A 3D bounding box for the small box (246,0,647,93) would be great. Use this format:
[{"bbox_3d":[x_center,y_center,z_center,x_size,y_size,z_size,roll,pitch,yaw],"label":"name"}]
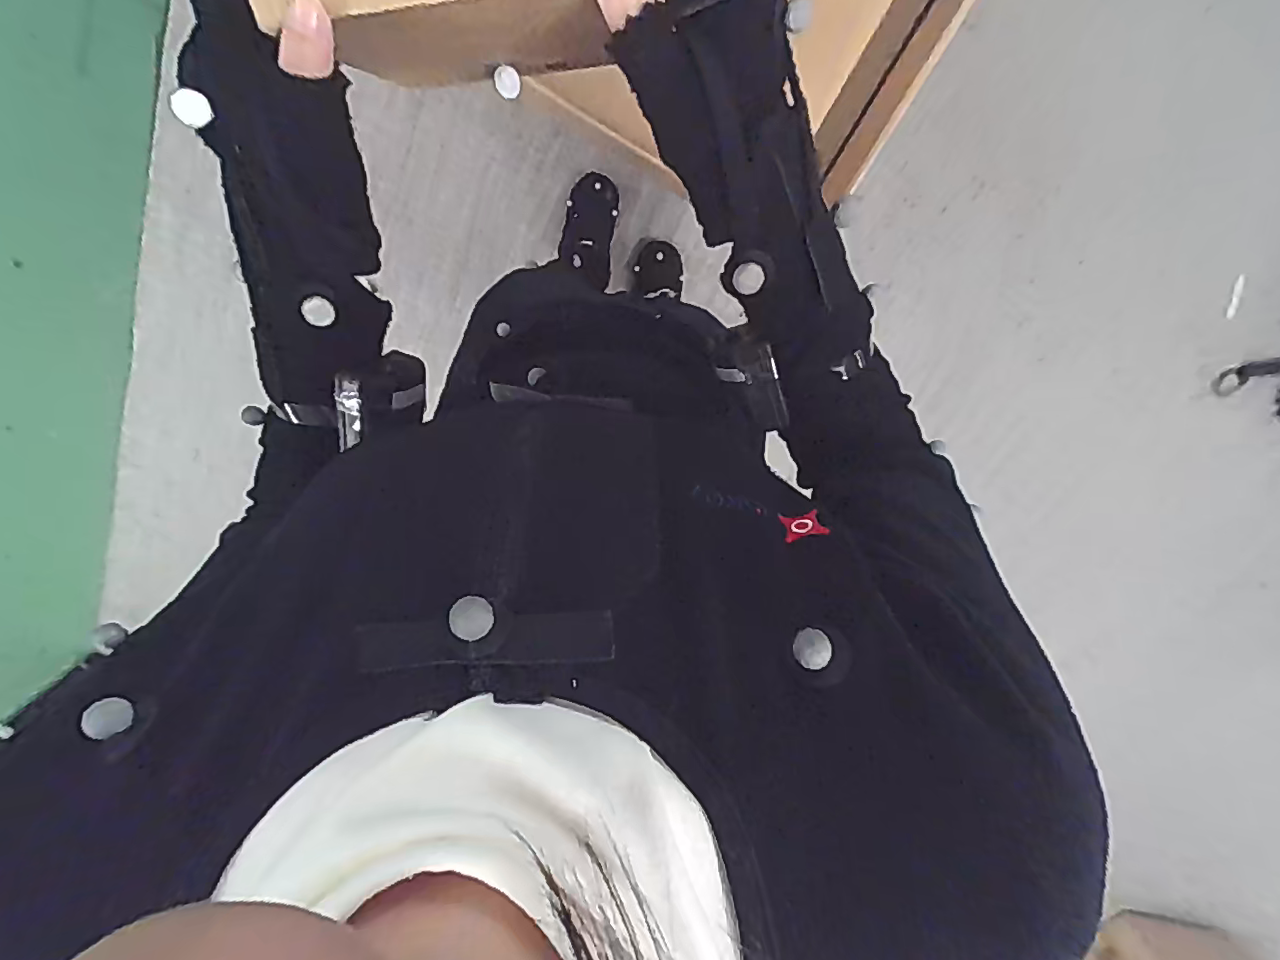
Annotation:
[{"bbox_3d":[-0.087,-0.307,0.250,0.168,0.176,0.179,-6,119,4],"label":"small box"}]
